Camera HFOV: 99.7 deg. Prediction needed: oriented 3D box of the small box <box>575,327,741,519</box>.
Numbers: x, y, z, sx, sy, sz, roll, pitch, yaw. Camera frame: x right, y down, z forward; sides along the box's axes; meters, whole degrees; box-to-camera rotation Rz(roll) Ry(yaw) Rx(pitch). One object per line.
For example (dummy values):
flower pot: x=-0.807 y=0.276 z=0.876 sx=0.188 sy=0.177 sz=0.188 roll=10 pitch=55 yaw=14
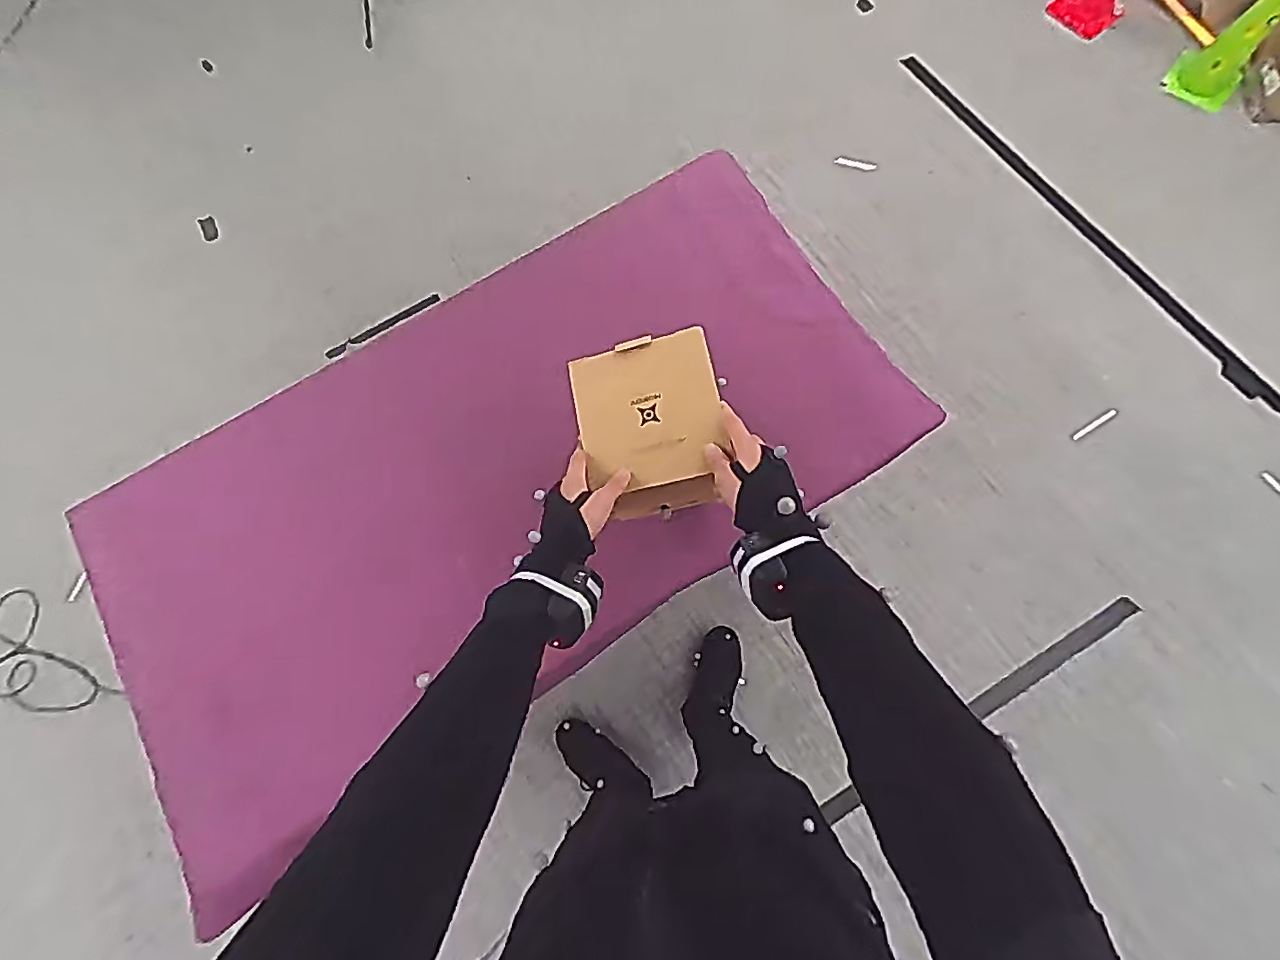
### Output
small box: x=0.029 y=-0.060 z=0.684 sx=0.168 sy=0.176 sz=0.179 roll=-12 pitch=76 yaw=8
